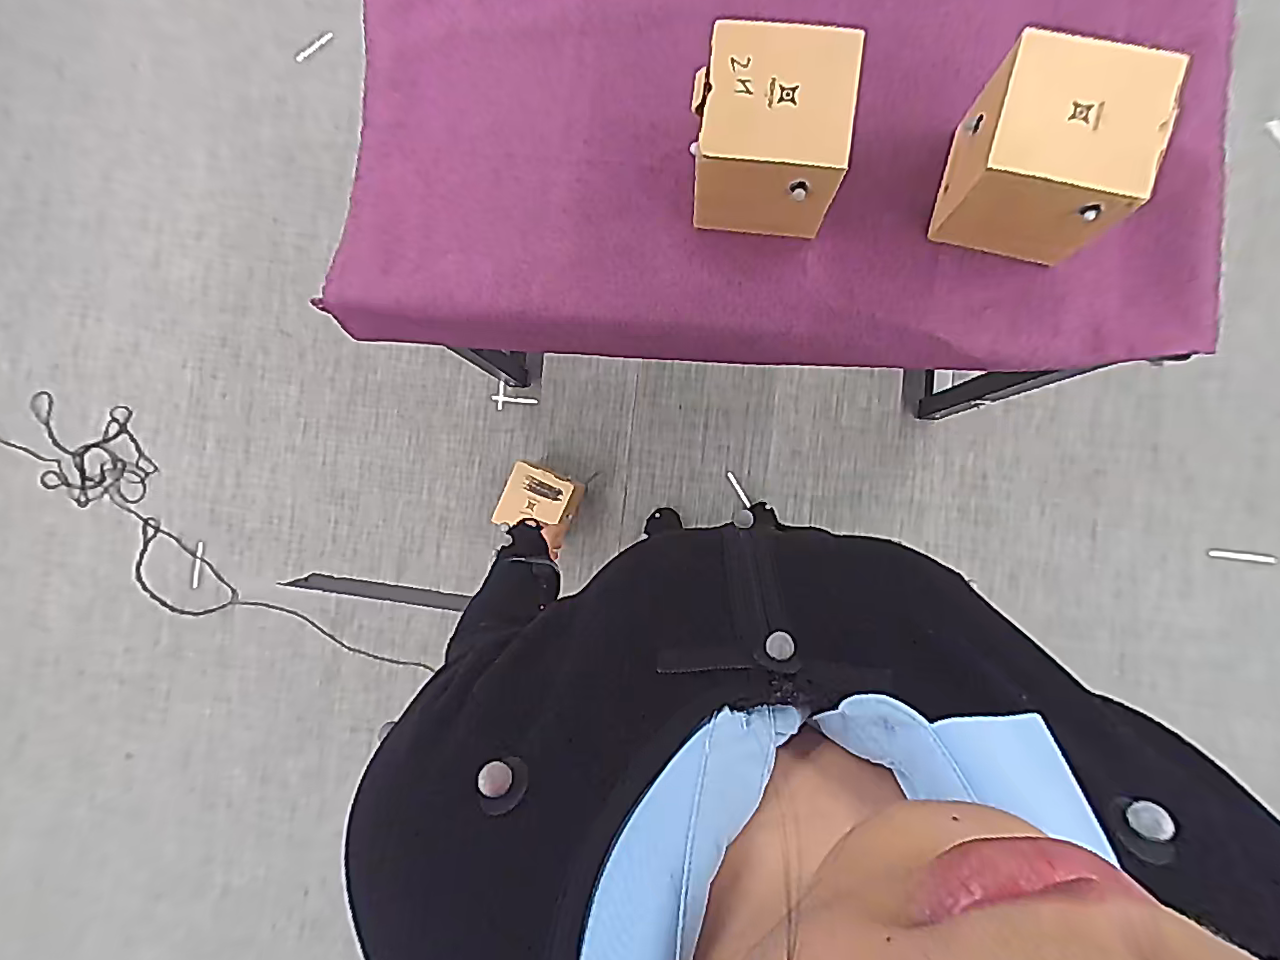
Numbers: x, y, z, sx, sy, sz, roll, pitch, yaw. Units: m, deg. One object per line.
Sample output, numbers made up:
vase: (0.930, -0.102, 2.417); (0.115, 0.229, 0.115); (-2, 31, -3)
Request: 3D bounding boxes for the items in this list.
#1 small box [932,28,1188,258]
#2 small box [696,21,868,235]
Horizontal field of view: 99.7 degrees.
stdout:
small box: (0.498, -0.401, 0.672); (0.179, 0.176, 0.168); (15, 89, 6)
small box: (0.171, -0.441, 0.704); (0.179, 0.176, 0.168); (8, 88, 6)
